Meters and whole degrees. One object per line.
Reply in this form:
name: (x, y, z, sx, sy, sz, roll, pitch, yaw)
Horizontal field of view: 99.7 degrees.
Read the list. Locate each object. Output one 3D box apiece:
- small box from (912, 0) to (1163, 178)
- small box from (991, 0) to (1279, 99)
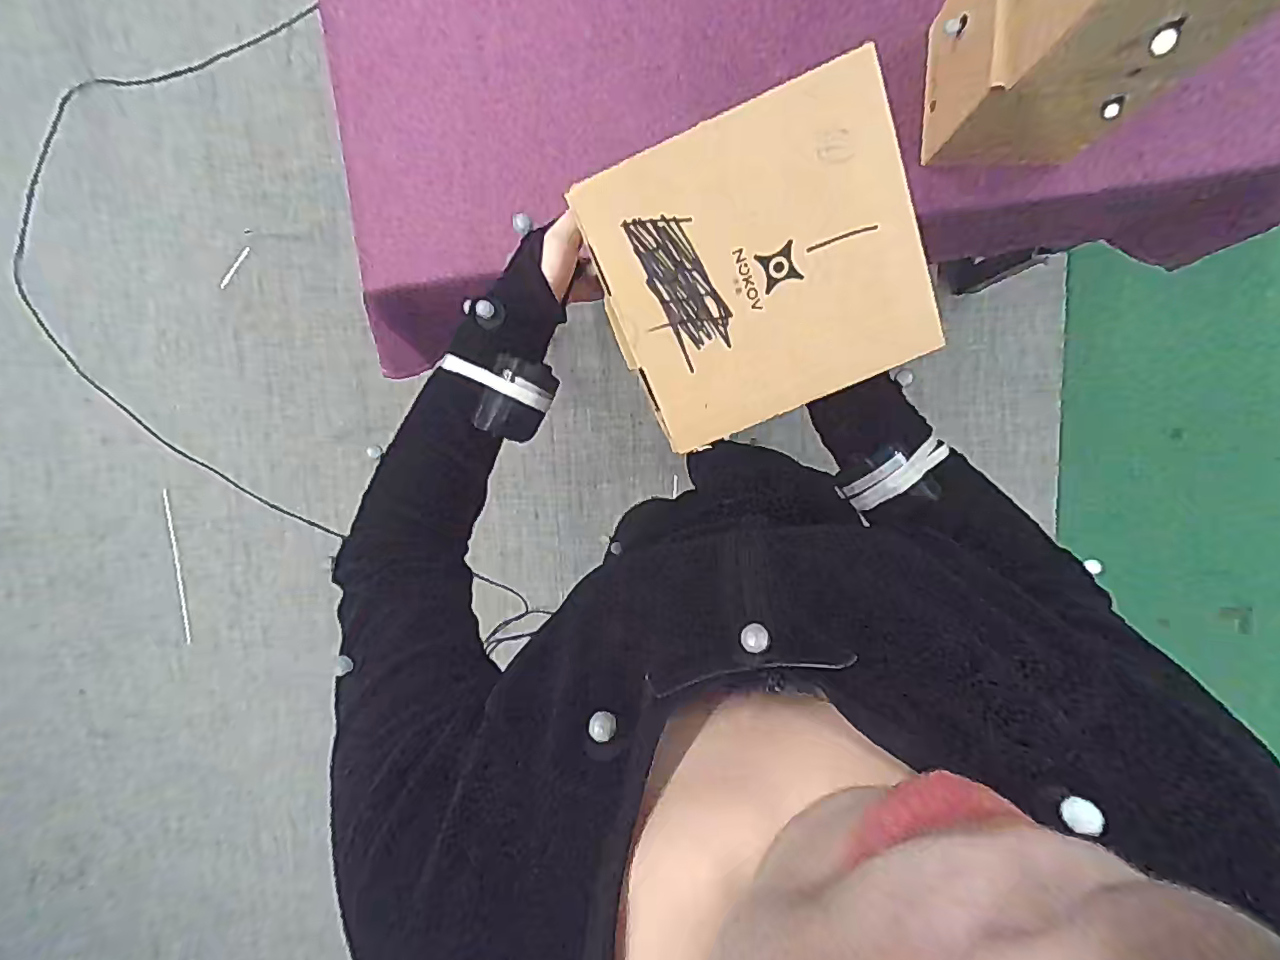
small box: (0.424, -0.456, 0.600, 0.179, 0.176, 0.168, 1, 95, 4)
small box: (0.414, -0.442, 0.436, 0.168, 0.176, 0.179, -2, 95, 4)
